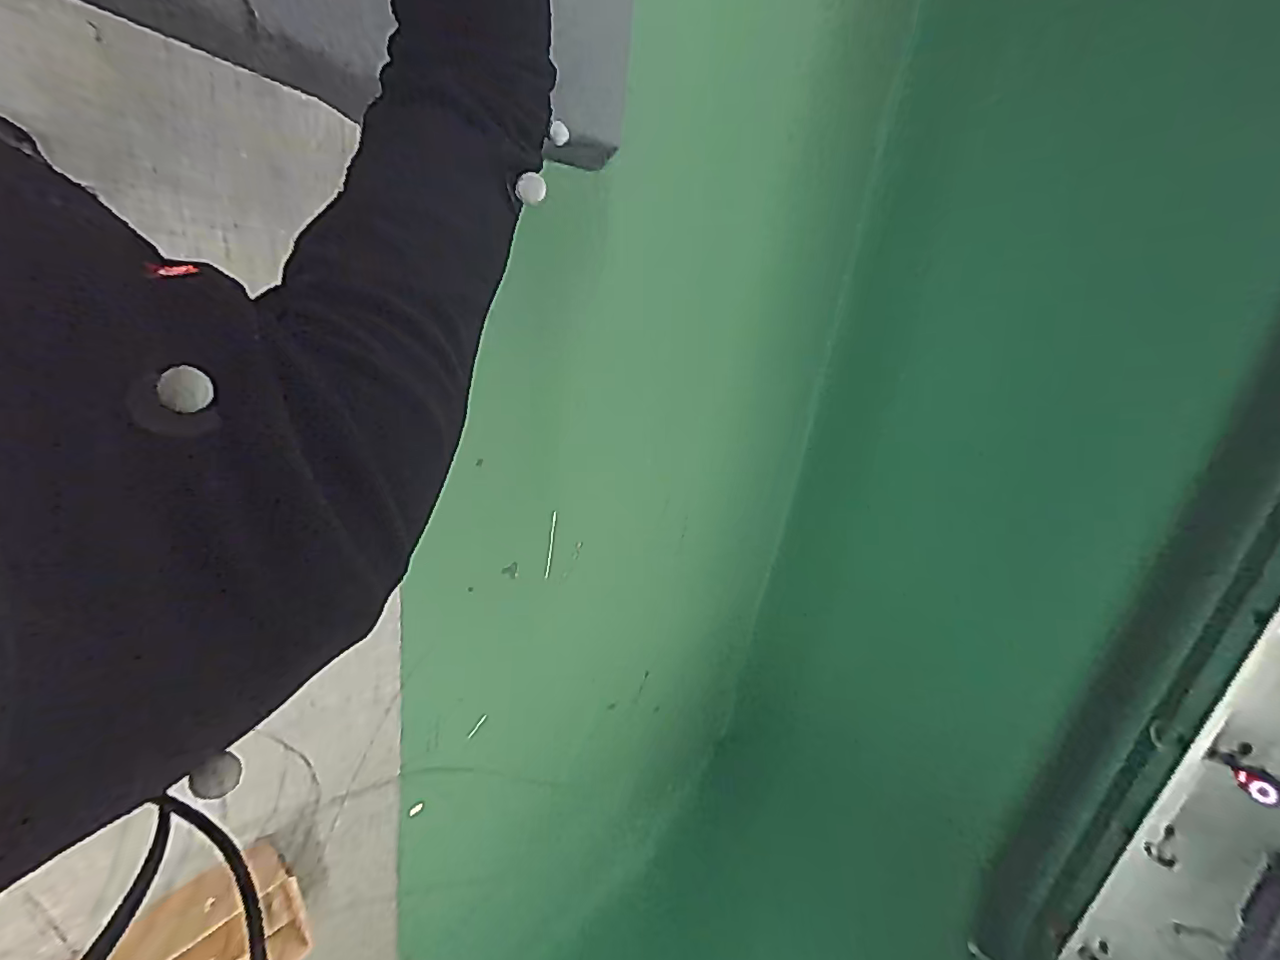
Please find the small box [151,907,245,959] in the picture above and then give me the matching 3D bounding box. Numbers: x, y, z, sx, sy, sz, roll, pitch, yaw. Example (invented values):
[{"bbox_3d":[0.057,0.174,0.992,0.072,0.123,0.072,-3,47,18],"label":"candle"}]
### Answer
[{"bbox_3d":[-1.253,1.386,1.540,0.179,0.176,0.168,-13,118,-48],"label":"small box"}]
